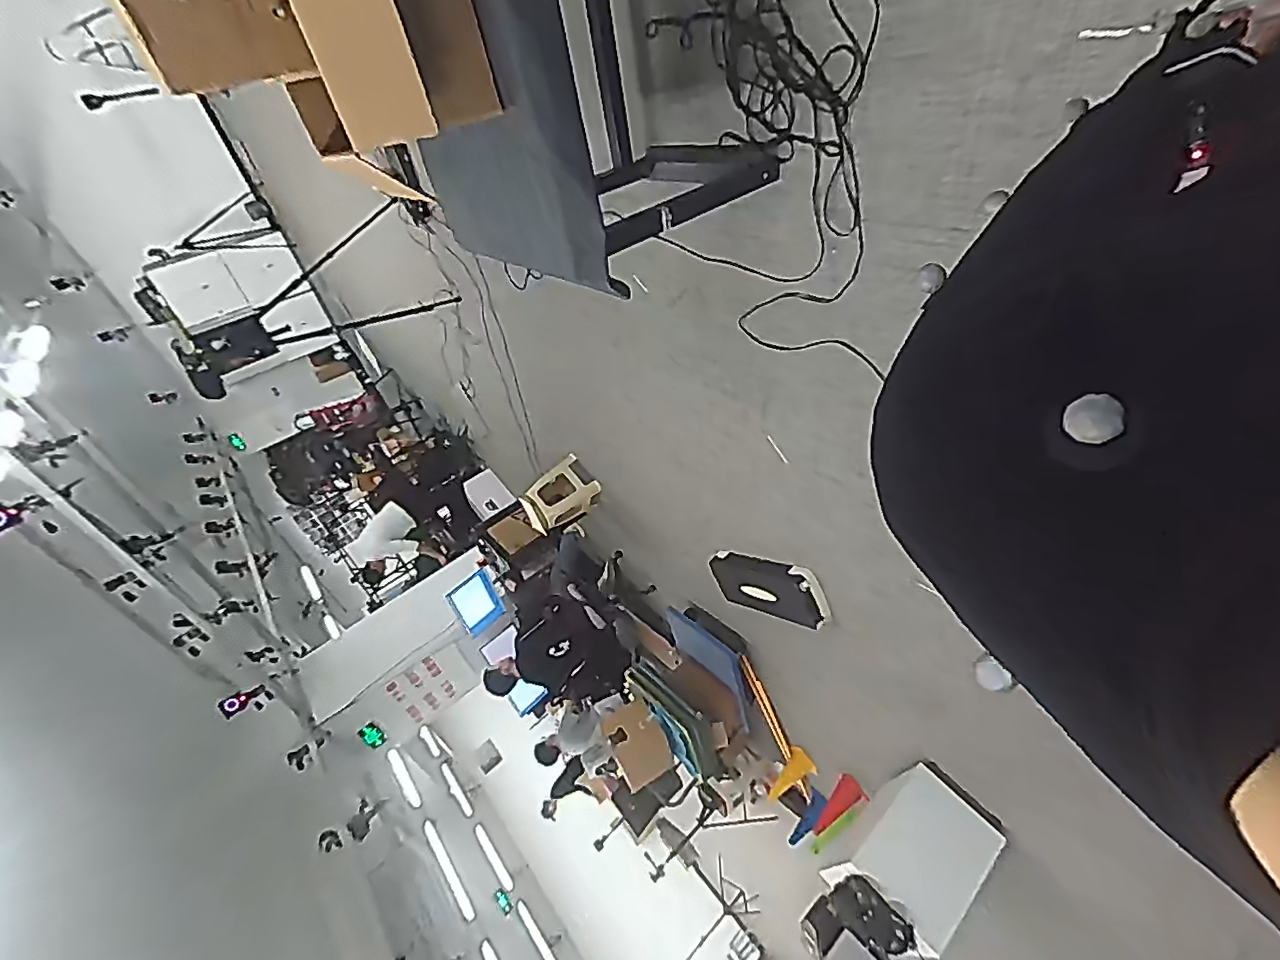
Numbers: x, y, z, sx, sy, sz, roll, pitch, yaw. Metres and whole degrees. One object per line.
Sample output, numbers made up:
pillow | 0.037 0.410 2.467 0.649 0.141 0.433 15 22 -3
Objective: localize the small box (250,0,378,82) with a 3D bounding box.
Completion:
small box | -0.592 -0.815 0.934 0.168 0.176 0.179 32 146 42

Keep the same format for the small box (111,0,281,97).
small box | -0.719 -0.735 0.872 0.179 0.176 0.168 34 147 41
